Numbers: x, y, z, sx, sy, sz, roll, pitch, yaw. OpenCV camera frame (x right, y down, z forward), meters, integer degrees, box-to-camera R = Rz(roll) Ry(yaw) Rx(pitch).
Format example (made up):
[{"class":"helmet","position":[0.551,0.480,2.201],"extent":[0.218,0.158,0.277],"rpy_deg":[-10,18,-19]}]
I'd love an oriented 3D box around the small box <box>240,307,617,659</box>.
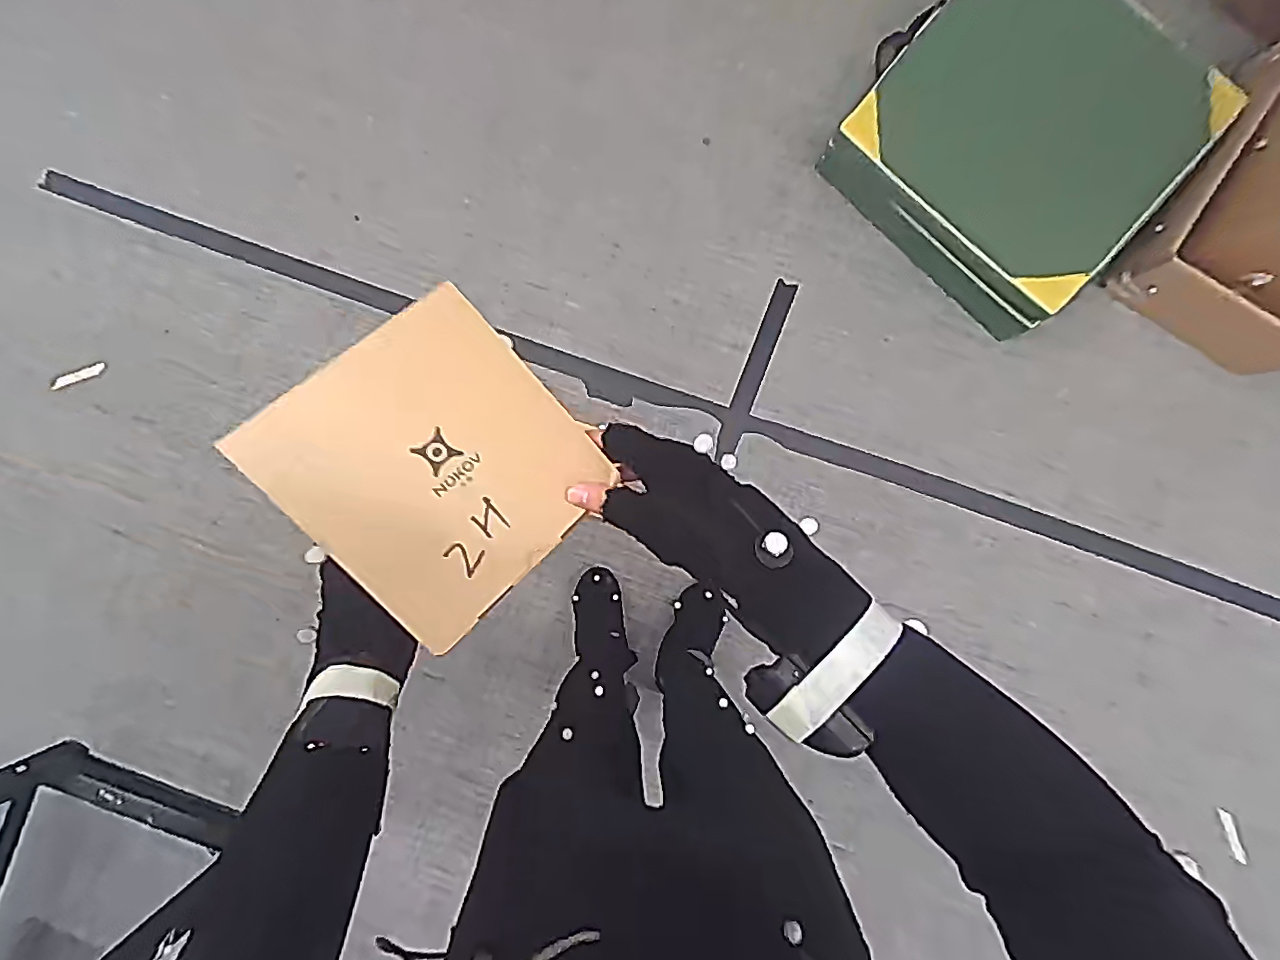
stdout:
[{"class":"small box","position":[-0.153,0.004,0.423],"extent":[0.168,0.176,0.179],"rpy_deg":[-40,102,-18]}]

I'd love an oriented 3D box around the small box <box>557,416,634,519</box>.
[{"class":"small box","position":[-0.114,-0.023,1.185],"extent":[0.168,0.176,0.179],"rpy_deg":[18,89,2]}]
